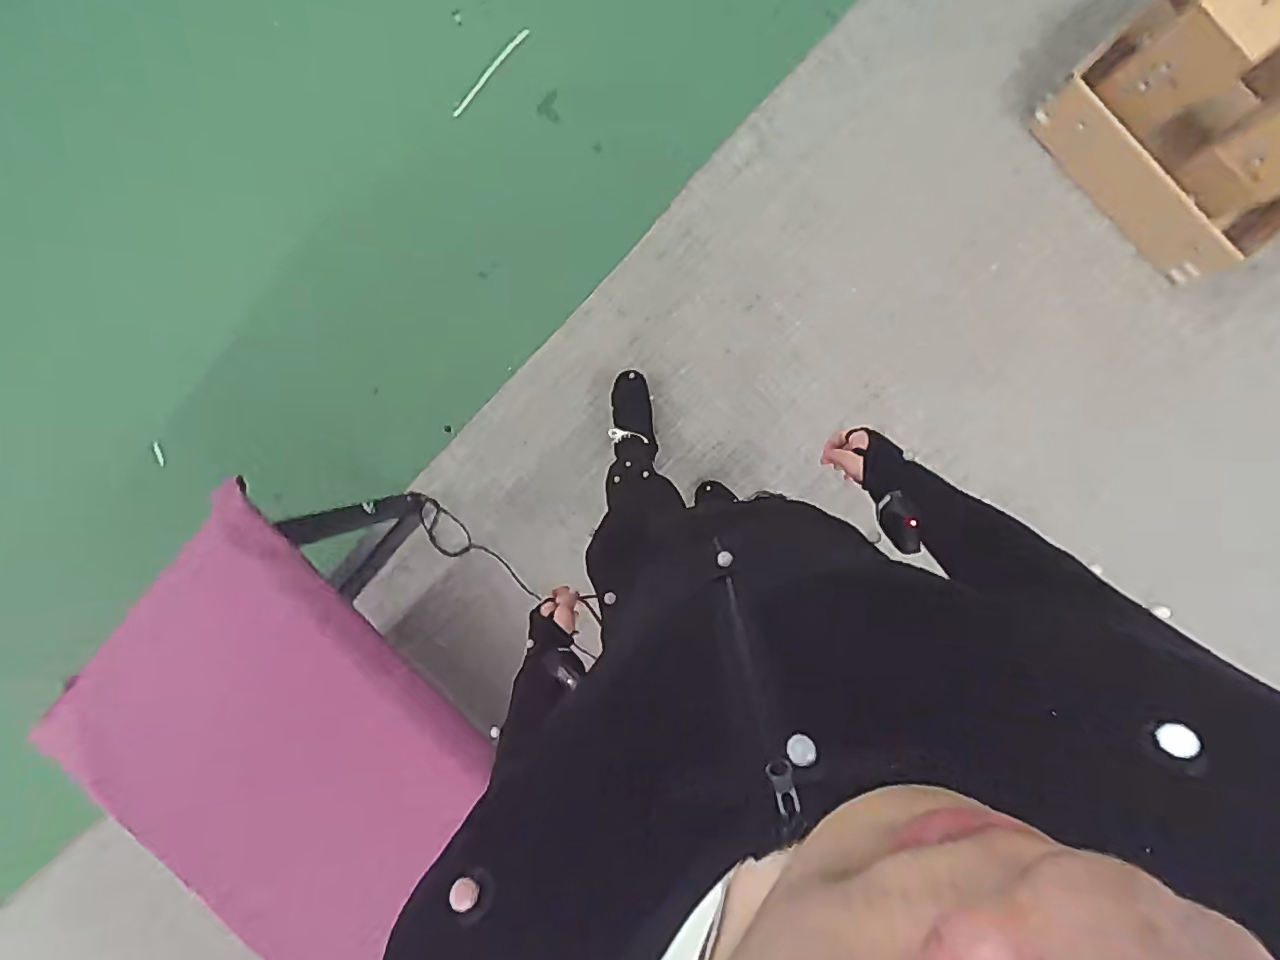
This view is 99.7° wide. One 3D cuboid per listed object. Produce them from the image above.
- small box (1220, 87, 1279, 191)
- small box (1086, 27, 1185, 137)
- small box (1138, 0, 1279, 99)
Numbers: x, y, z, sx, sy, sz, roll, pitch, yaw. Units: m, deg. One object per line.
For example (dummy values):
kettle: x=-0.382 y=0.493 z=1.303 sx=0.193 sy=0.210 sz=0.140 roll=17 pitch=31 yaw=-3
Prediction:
small box: x=1.409 y=-0.756 z=1.132 sx=0.179 sy=0.176 sz=0.168 roll=-42 pitch=90 yaw=9
small box: x=1.237 y=-0.978 z=1.289 sx=0.179 sy=0.176 sz=0.168 roll=-42 pitch=90 yaw=7
small box: x=1.221 y=-0.960 z=1.128 sx=0.179 sy=0.176 sz=0.168 roll=-42 pitch=91 yaw=8
